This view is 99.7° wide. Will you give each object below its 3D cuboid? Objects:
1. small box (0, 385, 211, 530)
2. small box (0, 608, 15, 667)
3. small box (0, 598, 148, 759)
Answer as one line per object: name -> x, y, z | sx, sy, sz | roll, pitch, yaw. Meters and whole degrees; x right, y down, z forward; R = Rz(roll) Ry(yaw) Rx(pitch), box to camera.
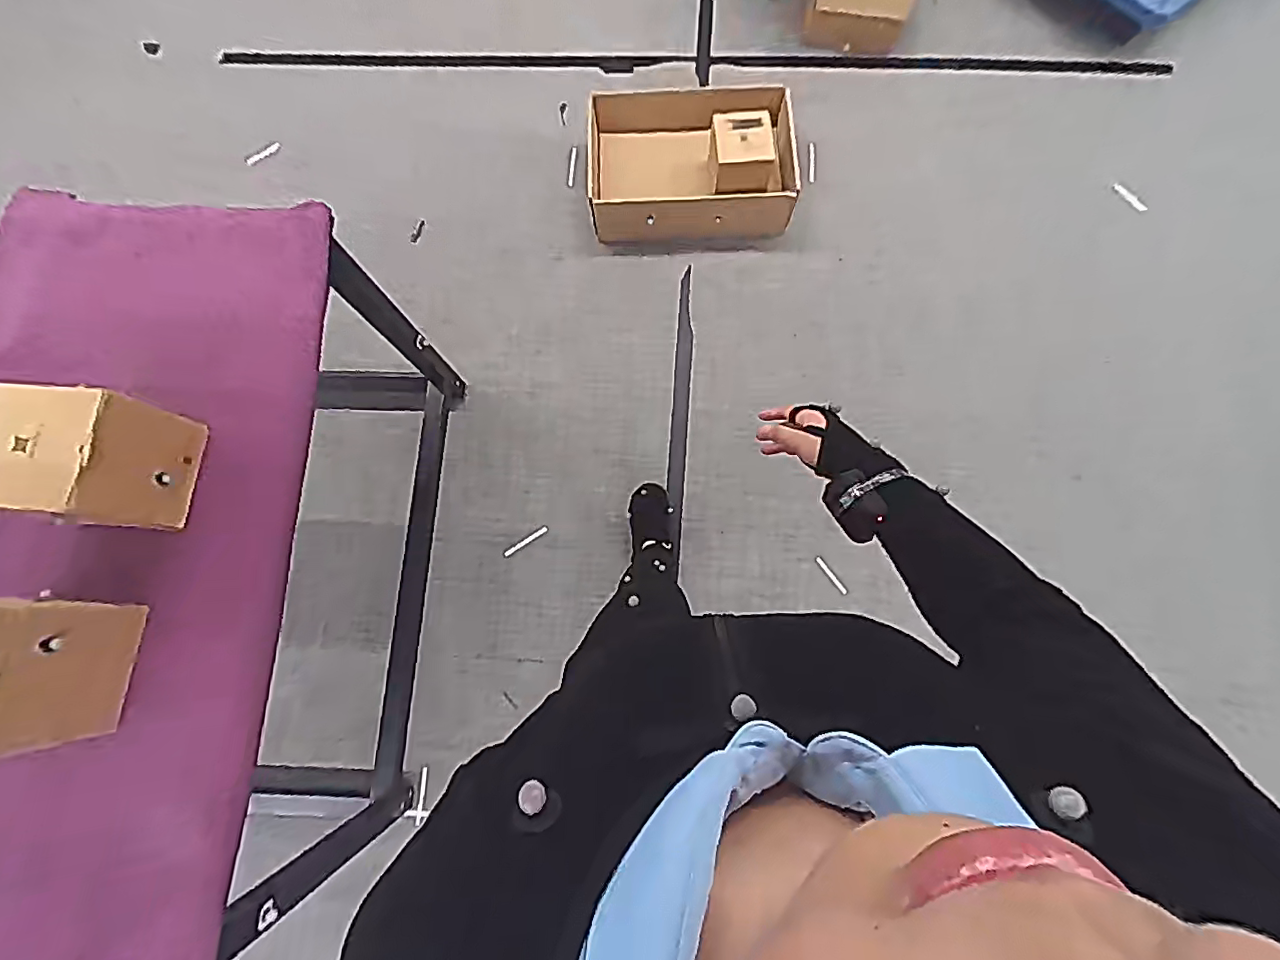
small box -> -0.779, -0.024, 0.773 | 0.179, 0.176, 0.168 | 3, 77, 4
small box -> -0.825, 0.211, 0.551 | 0.179, 0.176, 0.168 | 2, 76, 3
small box -> -0.811, 0.249, 0.710 | 0.168, 0.176, 0.179 | 4, 77, 4
